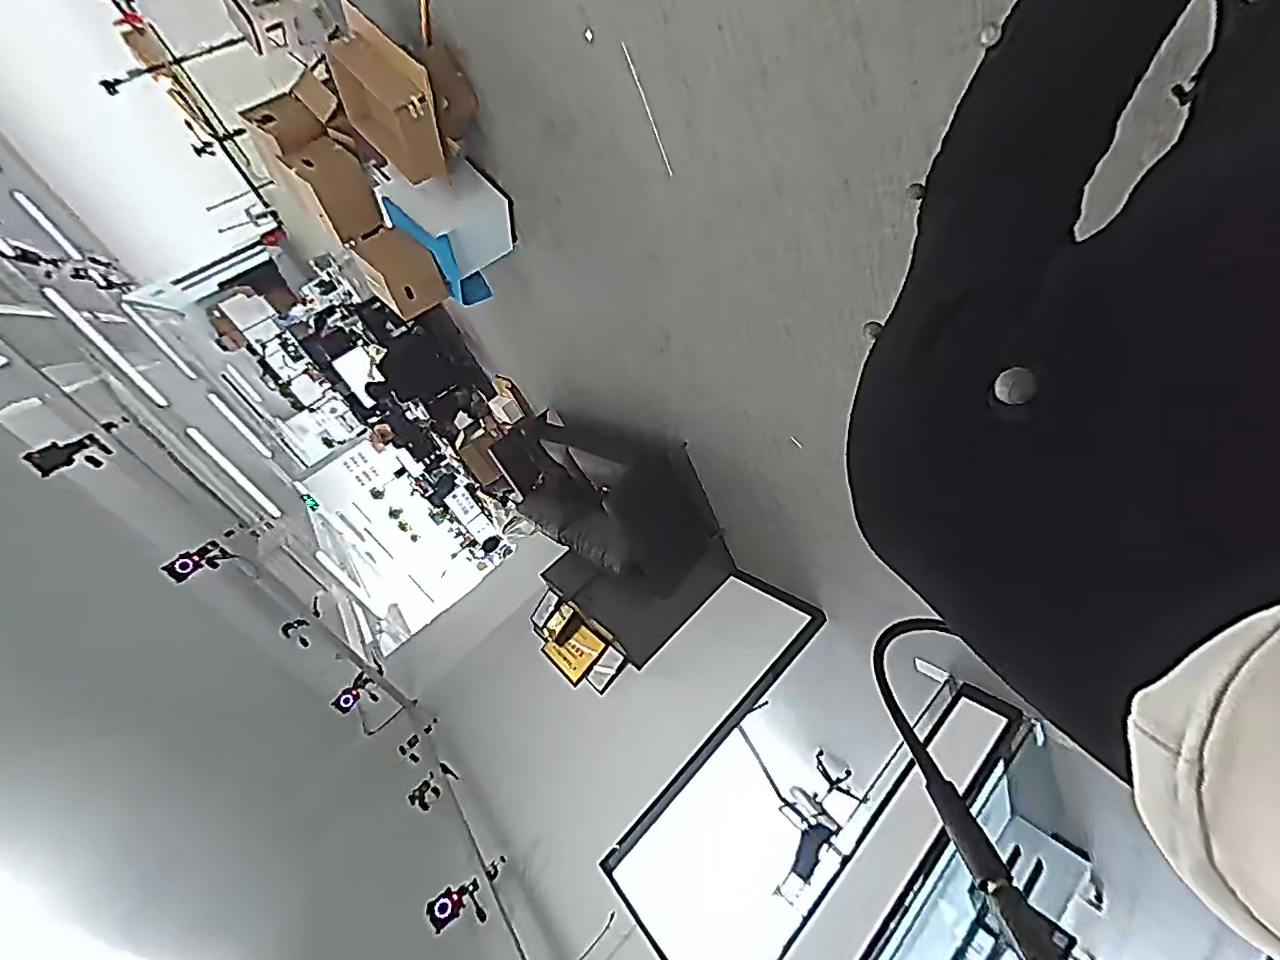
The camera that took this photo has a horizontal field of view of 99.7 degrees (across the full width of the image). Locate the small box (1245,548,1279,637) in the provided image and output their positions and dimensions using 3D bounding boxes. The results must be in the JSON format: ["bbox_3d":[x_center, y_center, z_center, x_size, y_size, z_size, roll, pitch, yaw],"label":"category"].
[{"bbox_3d":[1.512,0.258,1.196,0.179,0.176,0.168,26,148,49],"label":"small box"}]
